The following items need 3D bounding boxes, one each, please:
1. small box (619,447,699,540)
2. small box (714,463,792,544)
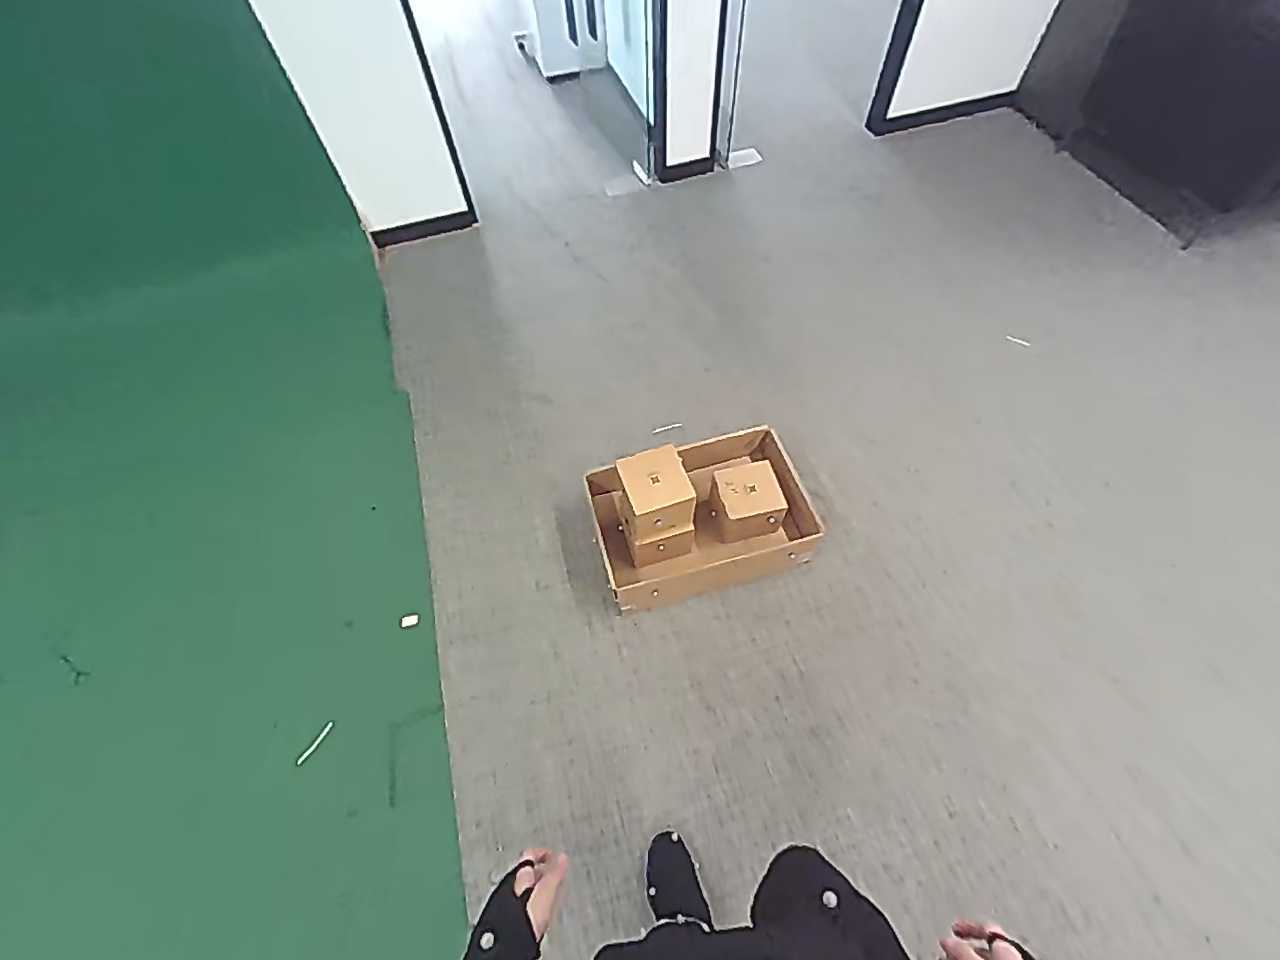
[{"bbox_3d":[0.050,0.044,1.460,0.168,0.176,0.179,-18,59,-8],"label":"small box"},{"bbox_3d":[0.330,0.073,1.616,0.179,0.176,0.168,-12,59,-3],"label":"small box"}]
